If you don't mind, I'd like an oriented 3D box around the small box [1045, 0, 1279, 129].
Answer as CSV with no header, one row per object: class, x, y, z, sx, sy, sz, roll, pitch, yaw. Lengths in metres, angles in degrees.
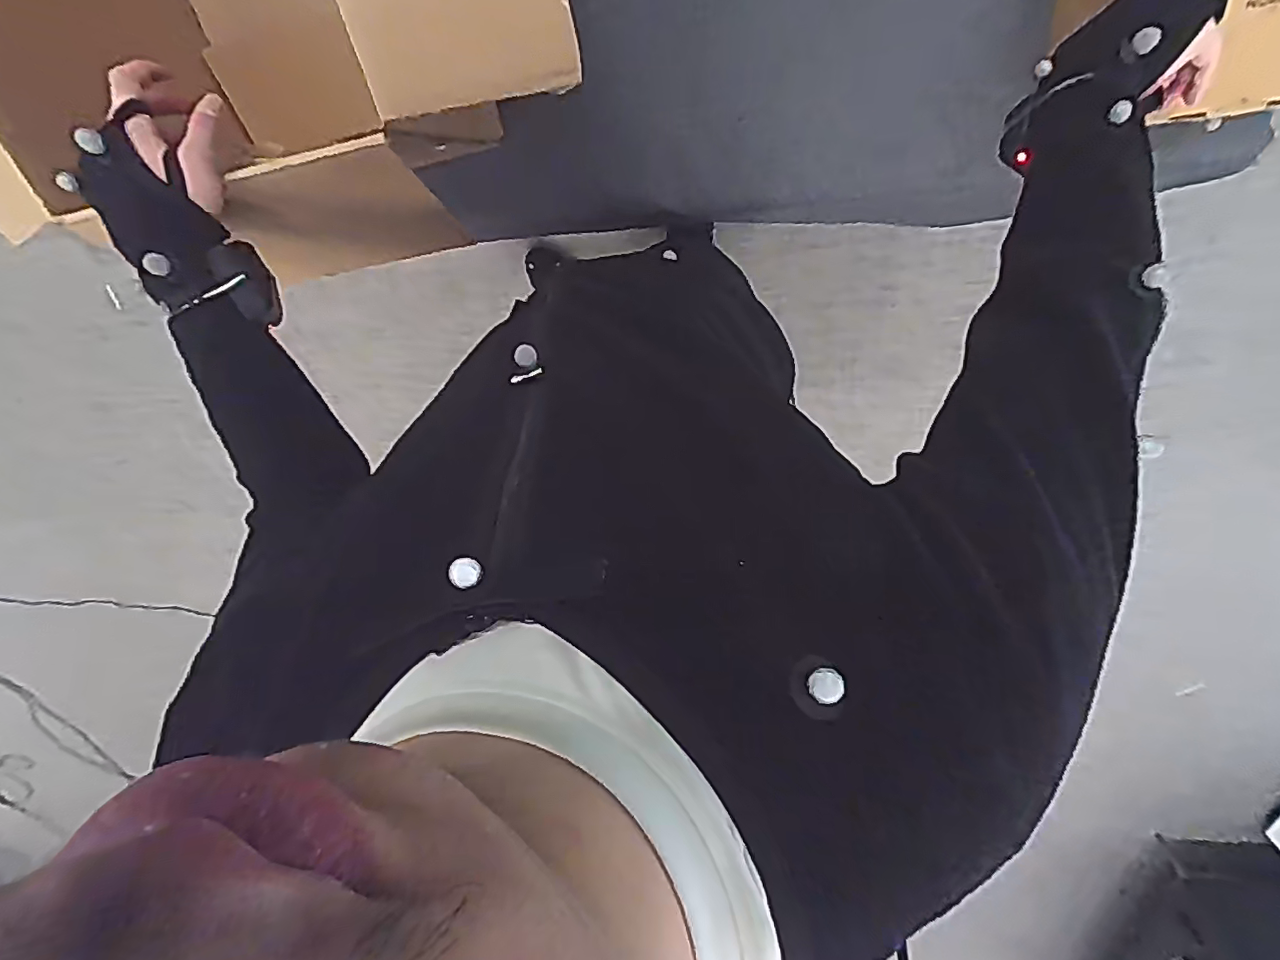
small box,0.506,-0.429,0.486,0.168,0.176,0.179,-4,119,10
